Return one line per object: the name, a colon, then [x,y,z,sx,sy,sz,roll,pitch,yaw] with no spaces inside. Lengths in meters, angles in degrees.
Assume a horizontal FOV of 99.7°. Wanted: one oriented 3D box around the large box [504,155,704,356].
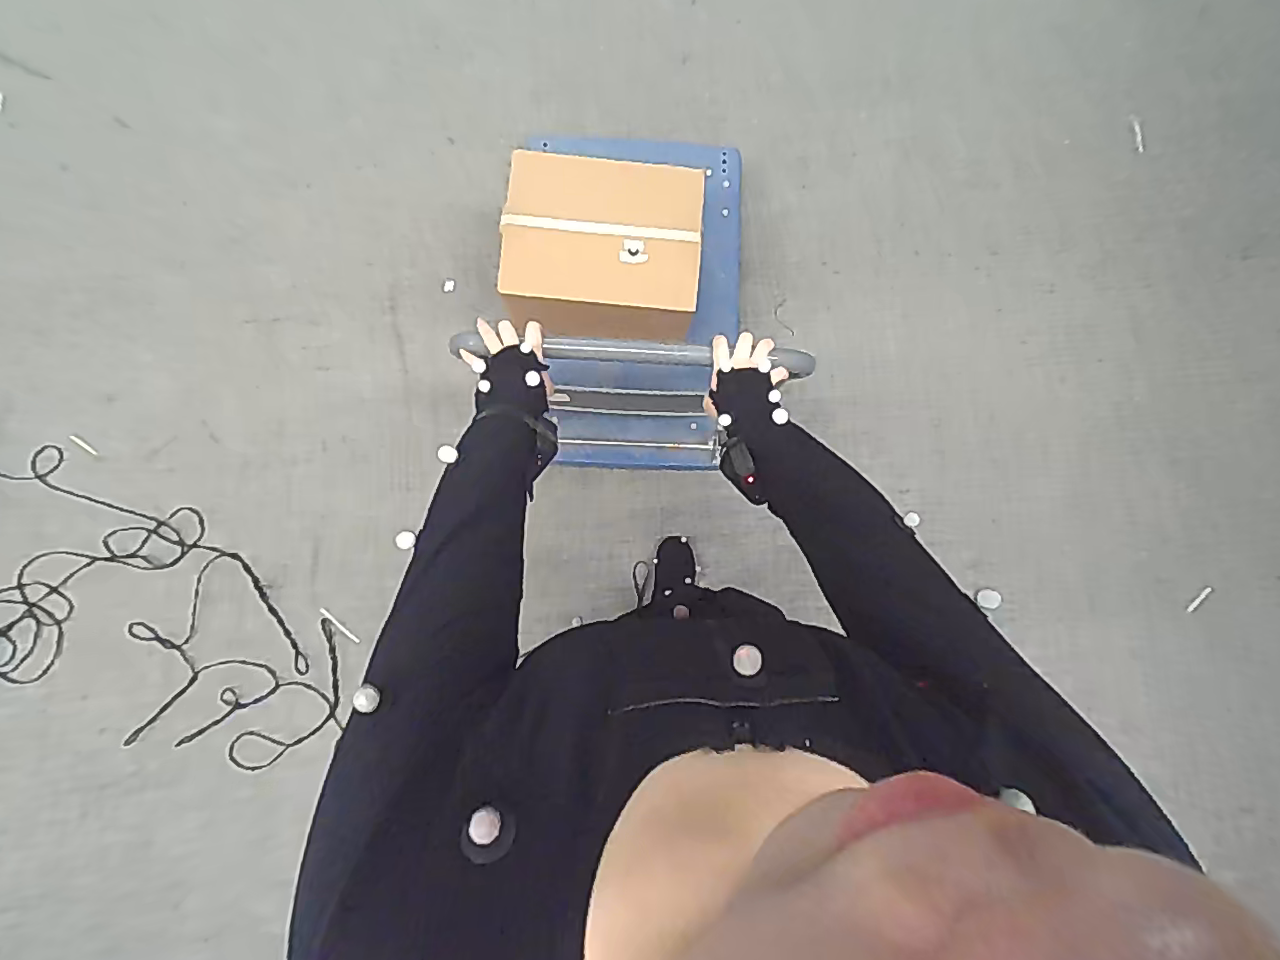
large box: [-0.080,-0.501,1.270,0.408,0.320,0.320,5,83,-2]
